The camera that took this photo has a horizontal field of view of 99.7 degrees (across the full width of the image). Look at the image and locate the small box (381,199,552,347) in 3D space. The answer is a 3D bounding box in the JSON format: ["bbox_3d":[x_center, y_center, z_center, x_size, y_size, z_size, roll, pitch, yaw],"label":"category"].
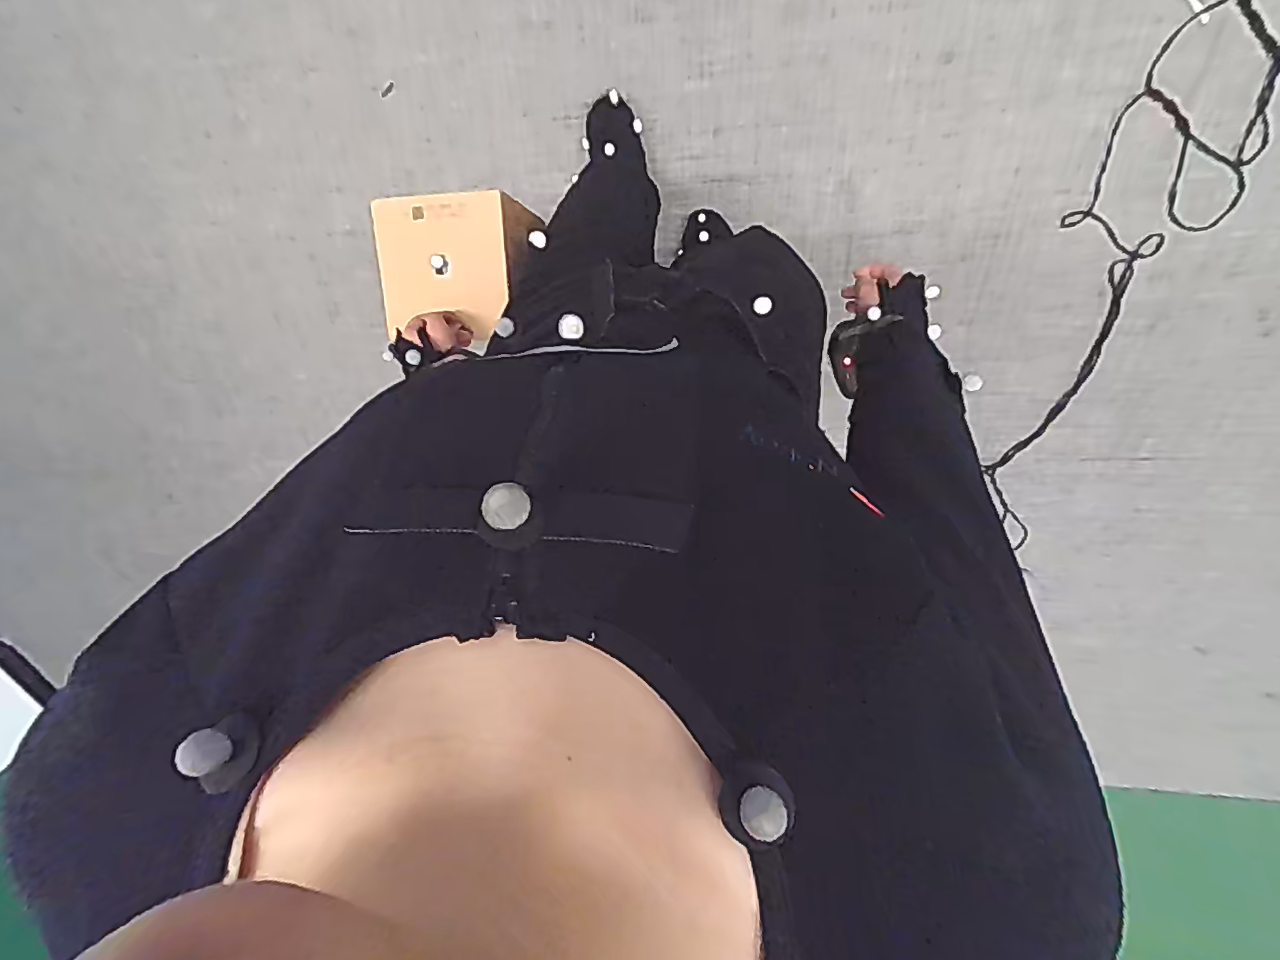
[{"bbox_3d":[-0.227,-0.274,0.738,0.168,0.179,0.176,0,103,7],"label":"small box"}]
